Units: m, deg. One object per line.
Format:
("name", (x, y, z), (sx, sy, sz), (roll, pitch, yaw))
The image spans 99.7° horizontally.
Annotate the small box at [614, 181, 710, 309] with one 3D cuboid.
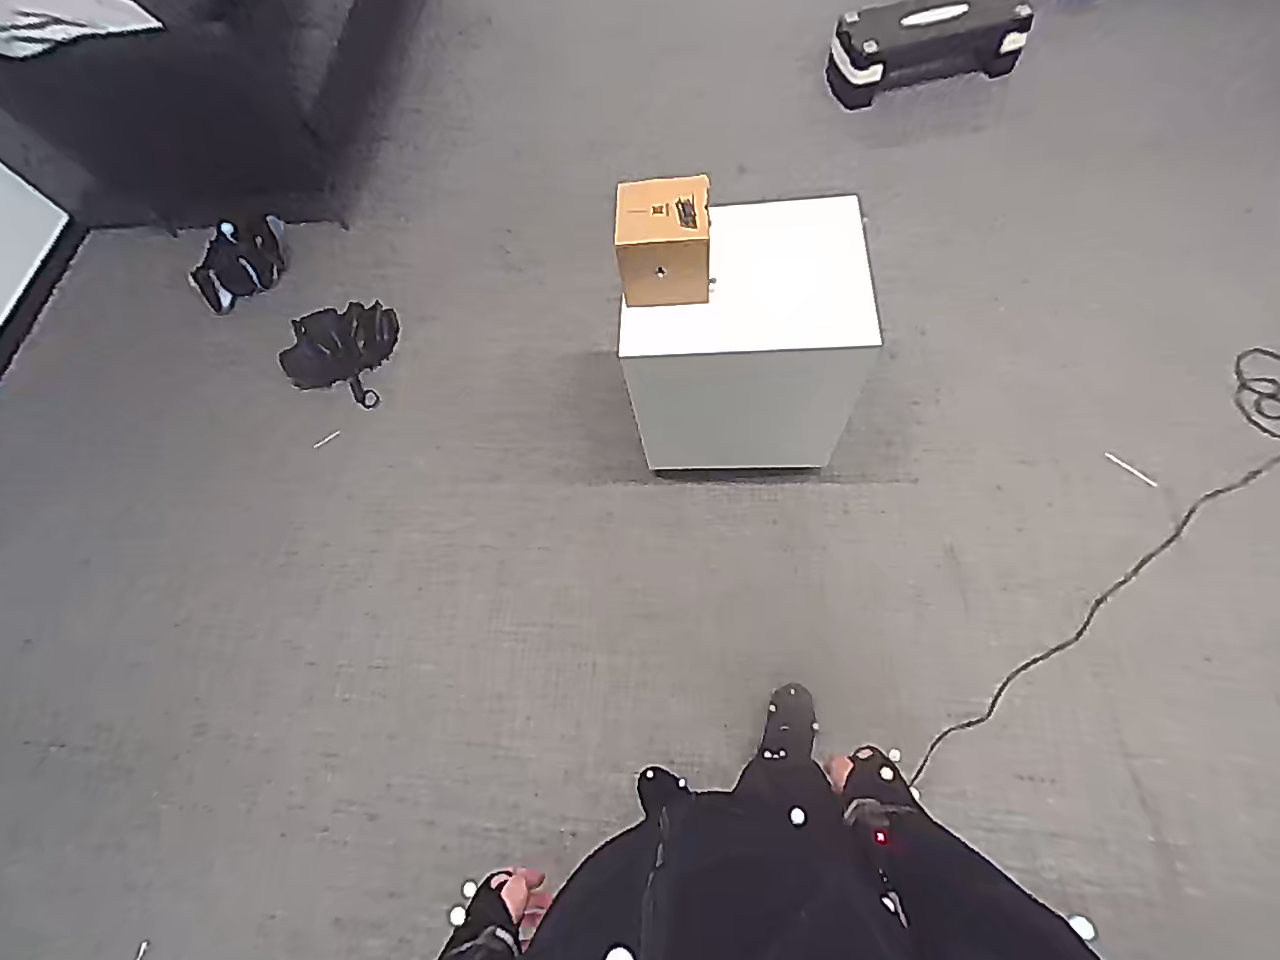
("small box", (0.051, -0.462, 1.082), (0.179, 0.176, 0.168), (-1, 66, 7))
